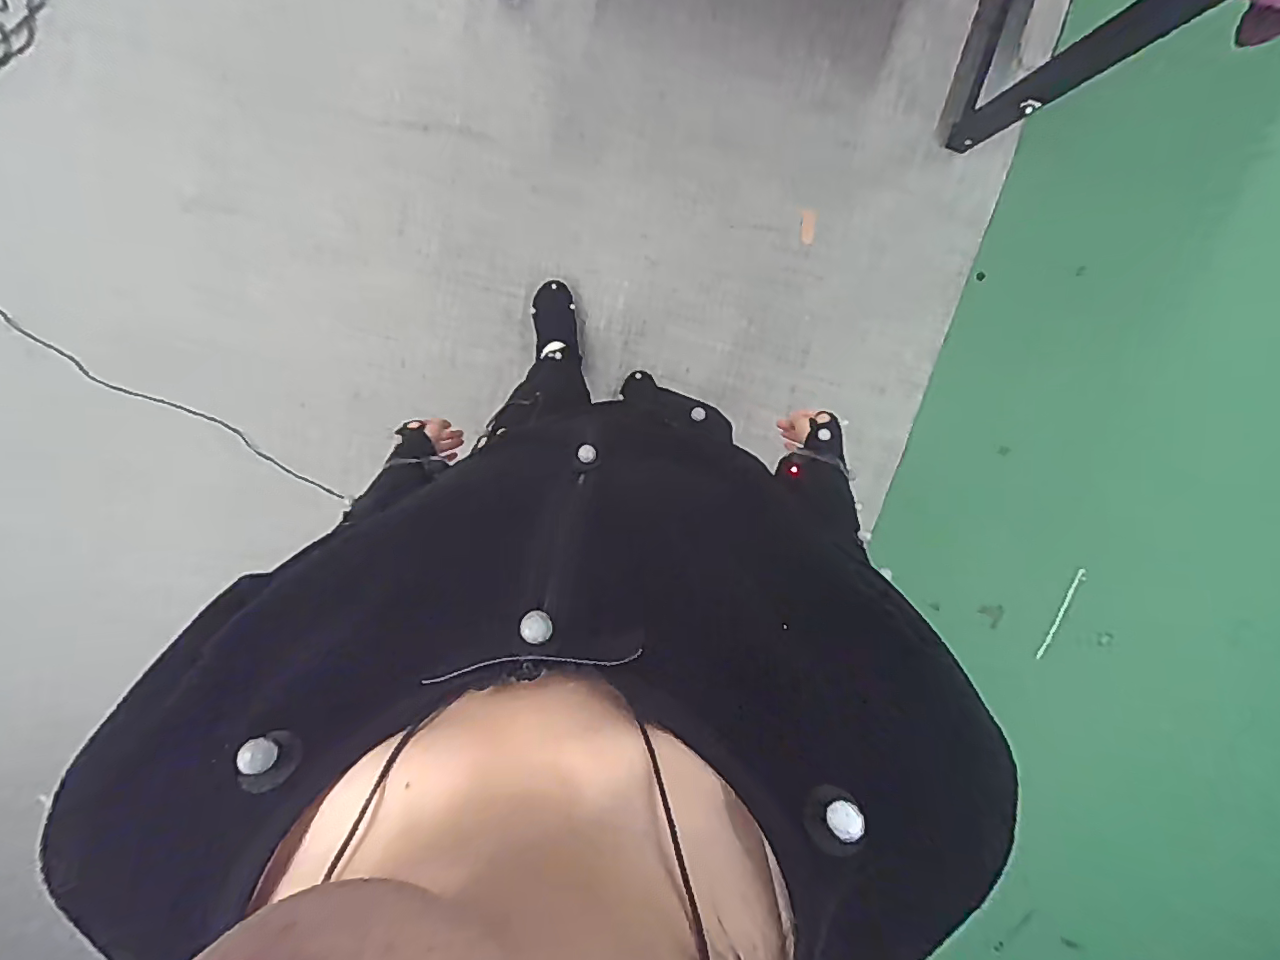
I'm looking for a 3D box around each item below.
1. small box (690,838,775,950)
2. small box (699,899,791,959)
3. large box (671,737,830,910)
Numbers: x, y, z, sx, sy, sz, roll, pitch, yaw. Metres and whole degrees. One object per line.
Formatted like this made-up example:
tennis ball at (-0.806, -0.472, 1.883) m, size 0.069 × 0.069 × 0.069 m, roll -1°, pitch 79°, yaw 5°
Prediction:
small box at (0.226, 1.045, 1.370) m, size 0.179 × 0.176 × 0.168 m, roll 4°, pitch 103°, yaw -2°
small box at (0.230, 1.081, 1.210) m, size 0.179 × 0.176 × 0.168 m, roll 0°, pitch 103°, yaw -3°
large box at (0.304, 1.006, 1.615) m, size 0.408 × 0.320 × 0.320 m, roll 0°, pitch 104°, yaw -2°
